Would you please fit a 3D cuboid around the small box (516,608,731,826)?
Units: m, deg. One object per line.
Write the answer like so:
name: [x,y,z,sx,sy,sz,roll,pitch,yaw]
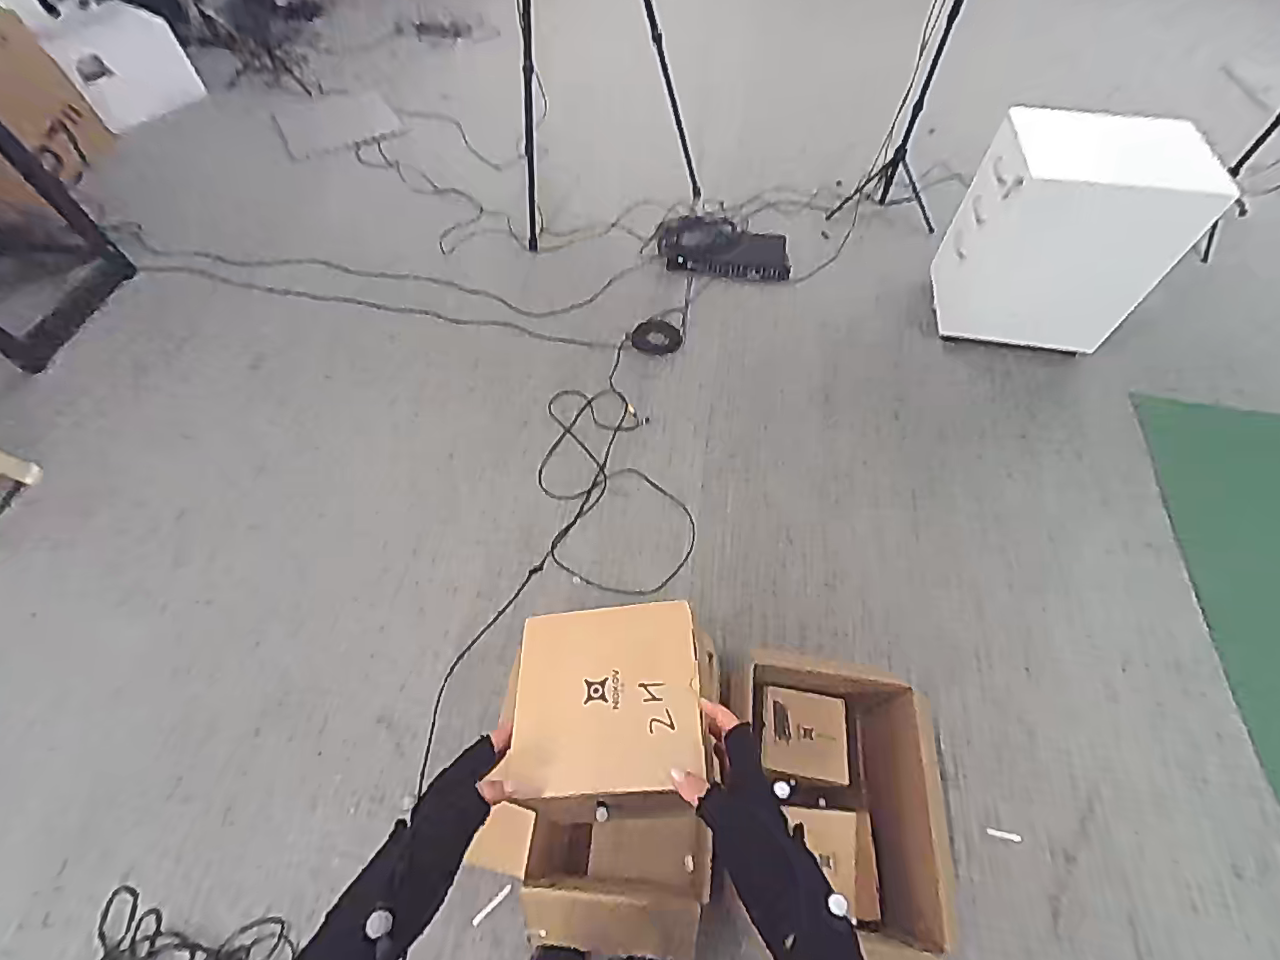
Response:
small box: [-0.008,0.251,0.561,0.179,0.176,0.168,-9,52,8]
